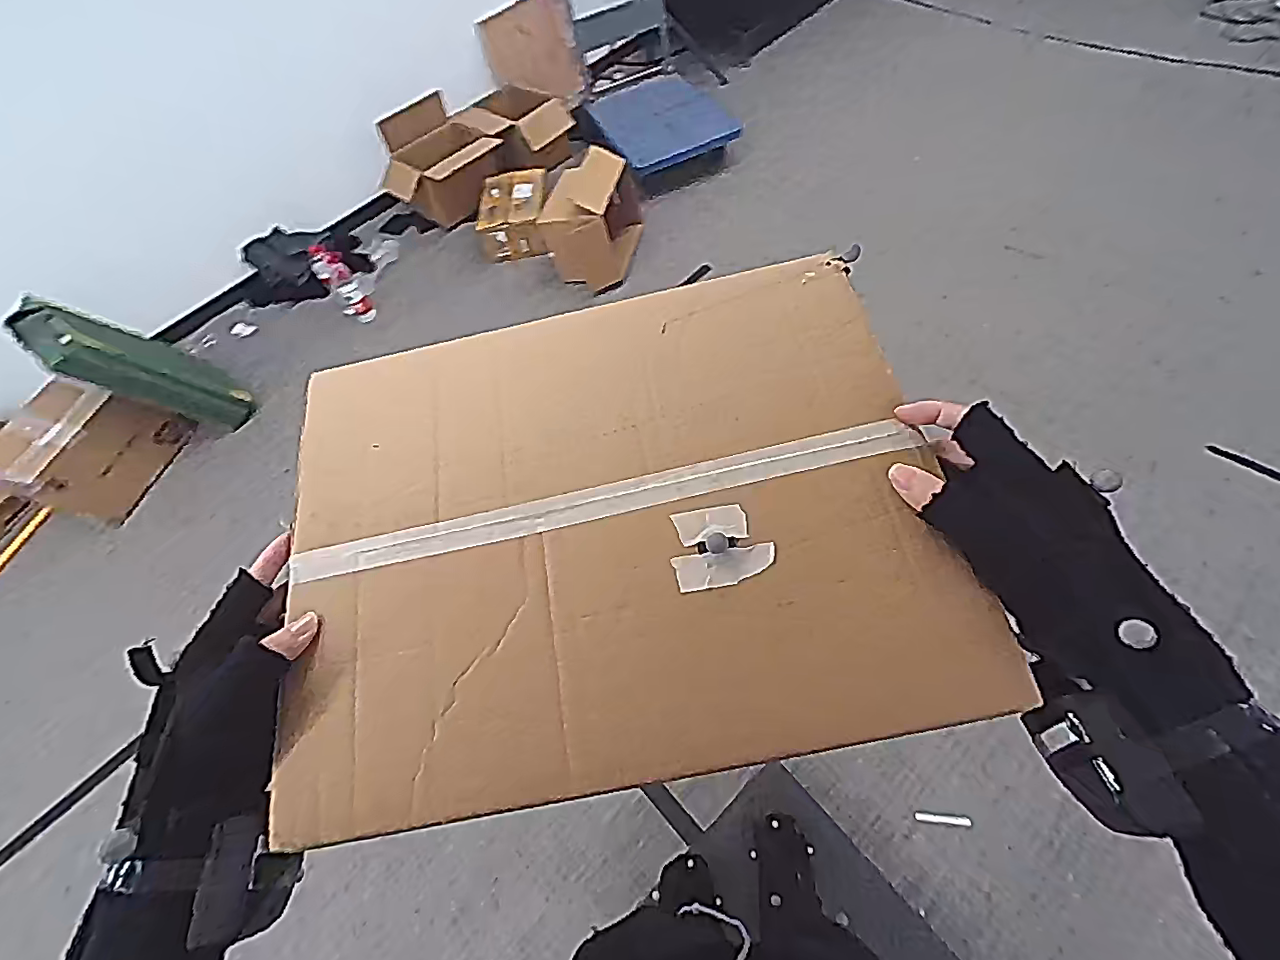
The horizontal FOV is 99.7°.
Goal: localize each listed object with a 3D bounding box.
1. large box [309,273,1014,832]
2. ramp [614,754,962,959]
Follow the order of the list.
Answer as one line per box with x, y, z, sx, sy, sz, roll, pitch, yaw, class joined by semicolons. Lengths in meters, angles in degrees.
-0.001;0.079;0.490;0.408;0.320;0.320;-12;66;2;large box
0.455;1.094;1.007;0.509;0.206;0.991;-42;61;-16;ramp
